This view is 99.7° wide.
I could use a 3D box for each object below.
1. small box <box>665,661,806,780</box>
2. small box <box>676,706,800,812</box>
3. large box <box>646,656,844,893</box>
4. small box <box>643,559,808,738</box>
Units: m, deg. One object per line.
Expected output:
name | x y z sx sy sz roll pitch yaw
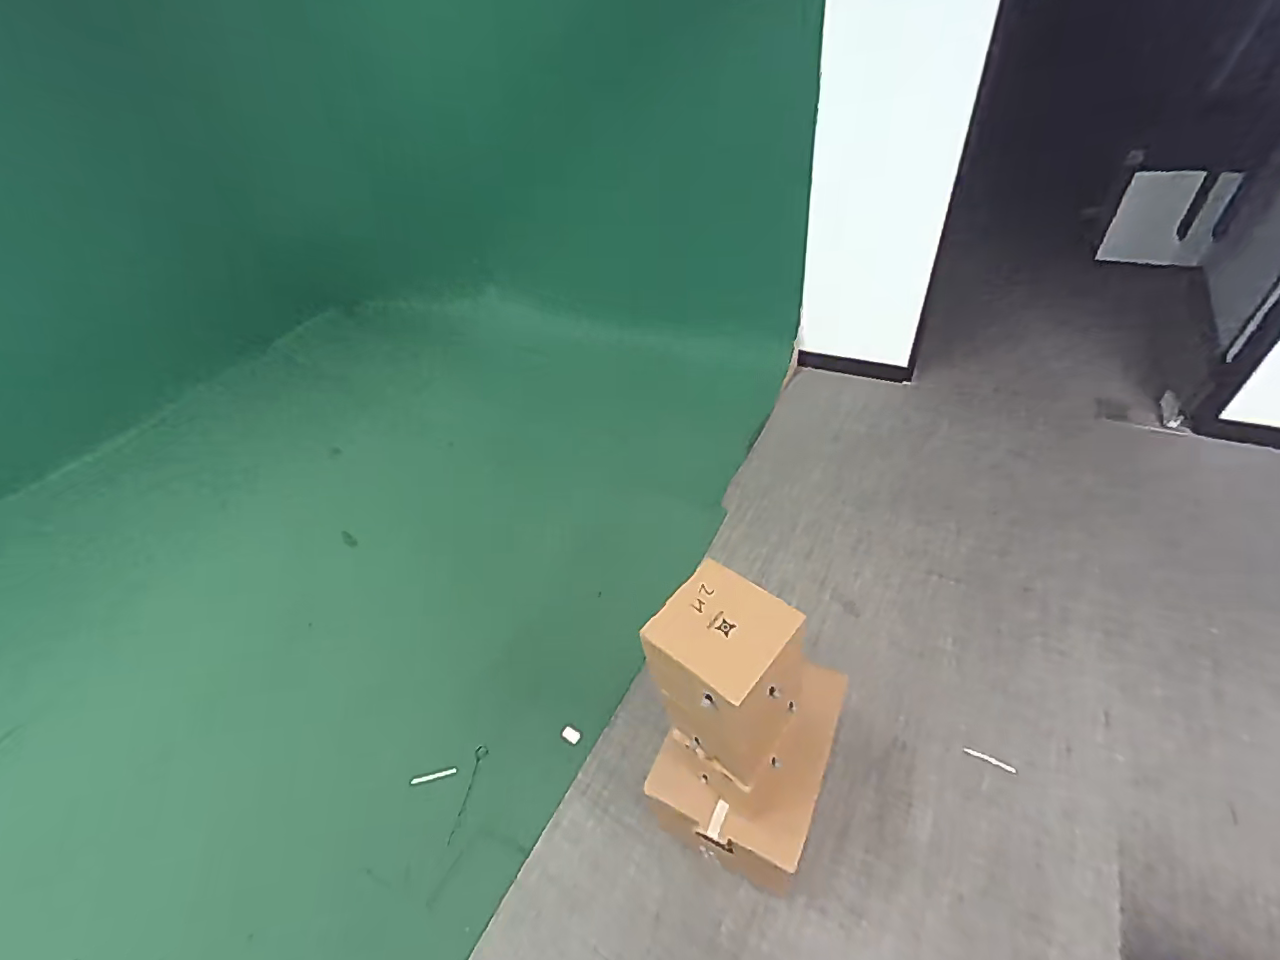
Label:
small box | 0.165 0.373 0.934 0.168 0.176 0.179 29 59 34
small box | 0.188 0.493 1.042 0.168 0.176 0.179 26 56 31
large box | 0.251 0.627 1.241 0.320 0.320 0.408 16 51 24
small box | 0.131 0.260 0.820 0.179 0.176 0.168 30 58 34
